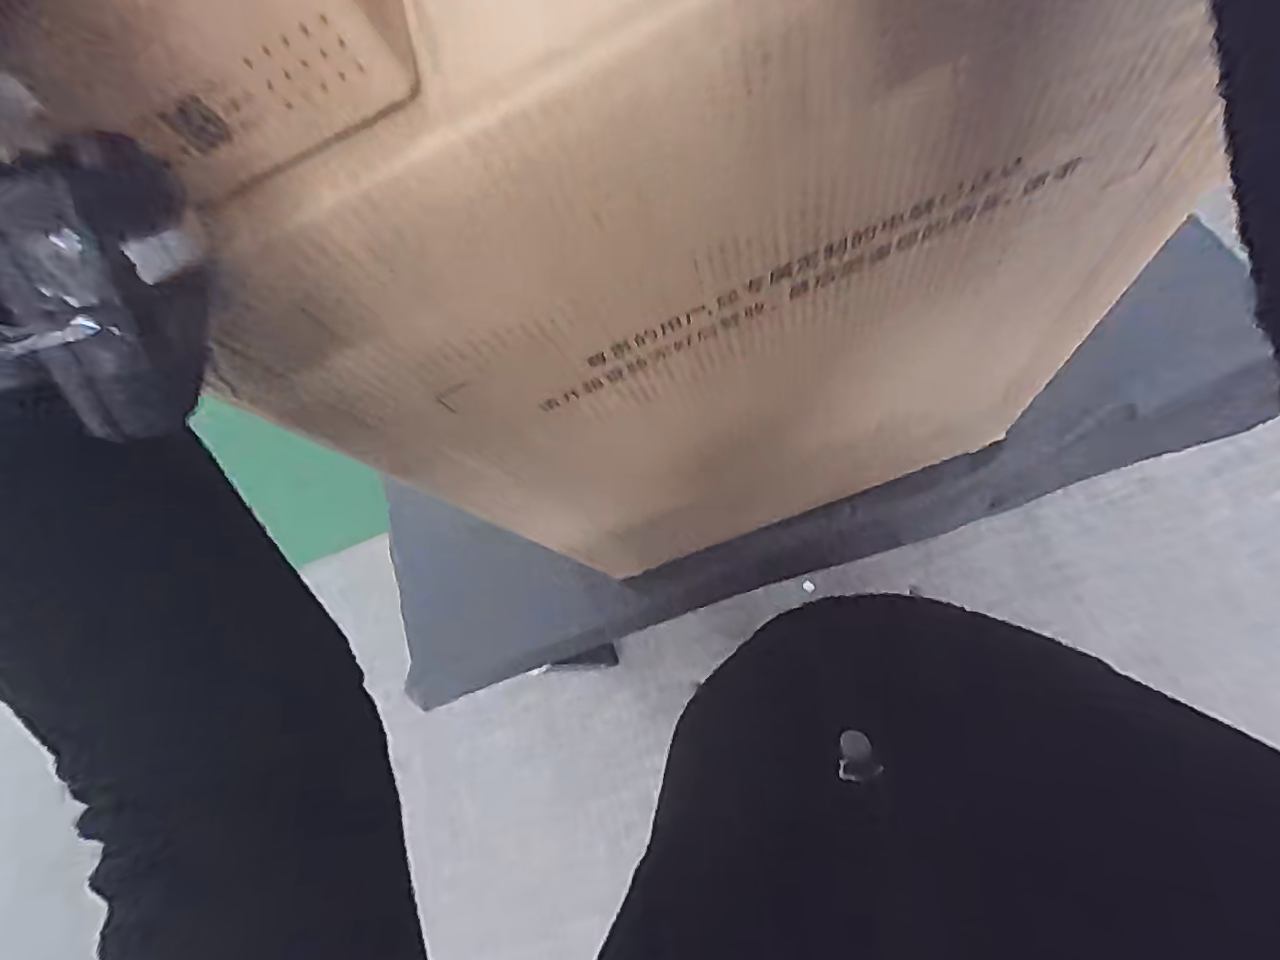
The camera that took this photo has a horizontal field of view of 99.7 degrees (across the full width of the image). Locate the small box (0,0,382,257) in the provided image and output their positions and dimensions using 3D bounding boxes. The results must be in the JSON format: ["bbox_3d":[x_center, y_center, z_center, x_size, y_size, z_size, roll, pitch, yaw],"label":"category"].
[{"bbox_3d":[-0.193,-0.190,0.142,0.168,0.176,0.179,-19,68,11],"label":"small box"}]
